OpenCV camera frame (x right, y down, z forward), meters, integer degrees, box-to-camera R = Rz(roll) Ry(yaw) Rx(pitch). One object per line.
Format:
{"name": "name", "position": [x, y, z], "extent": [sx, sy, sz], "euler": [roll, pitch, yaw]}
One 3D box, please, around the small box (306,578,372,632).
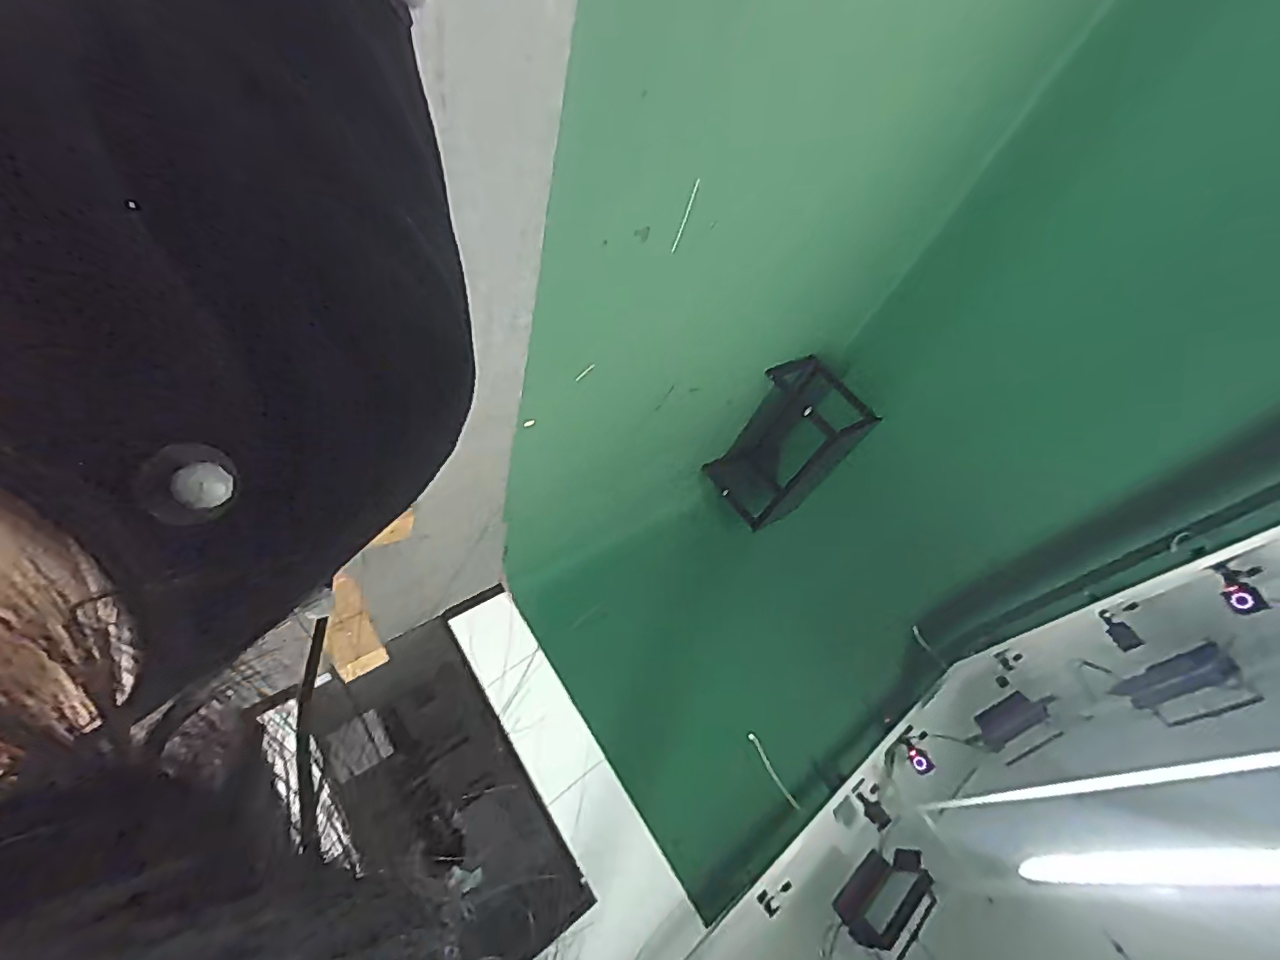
{"name": "small box", "position": [-1.197, 0.517, 2.153], "extent": [0.179, 0.176, 0.168], "euler": [-24, 156, -30]}

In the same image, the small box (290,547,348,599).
{"name": "small box", "position": [-1.296, 0.393, 2.201], "extent": [0.168, 0.176, 0.179], "euler": [-25, 156, -29]}

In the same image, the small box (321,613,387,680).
{"name": "small box", "position": [-1.106, 0.641, 2.095], "extent": [0.168, 0.176, 0.179], "euler": [-26, 157, -30]}

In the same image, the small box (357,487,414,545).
{"name": "small box", "position": [-1.145, 0.158, 2.418], "extent": [0.179, 0.176, 0.168], "euler": [-19, 153, -43]}
